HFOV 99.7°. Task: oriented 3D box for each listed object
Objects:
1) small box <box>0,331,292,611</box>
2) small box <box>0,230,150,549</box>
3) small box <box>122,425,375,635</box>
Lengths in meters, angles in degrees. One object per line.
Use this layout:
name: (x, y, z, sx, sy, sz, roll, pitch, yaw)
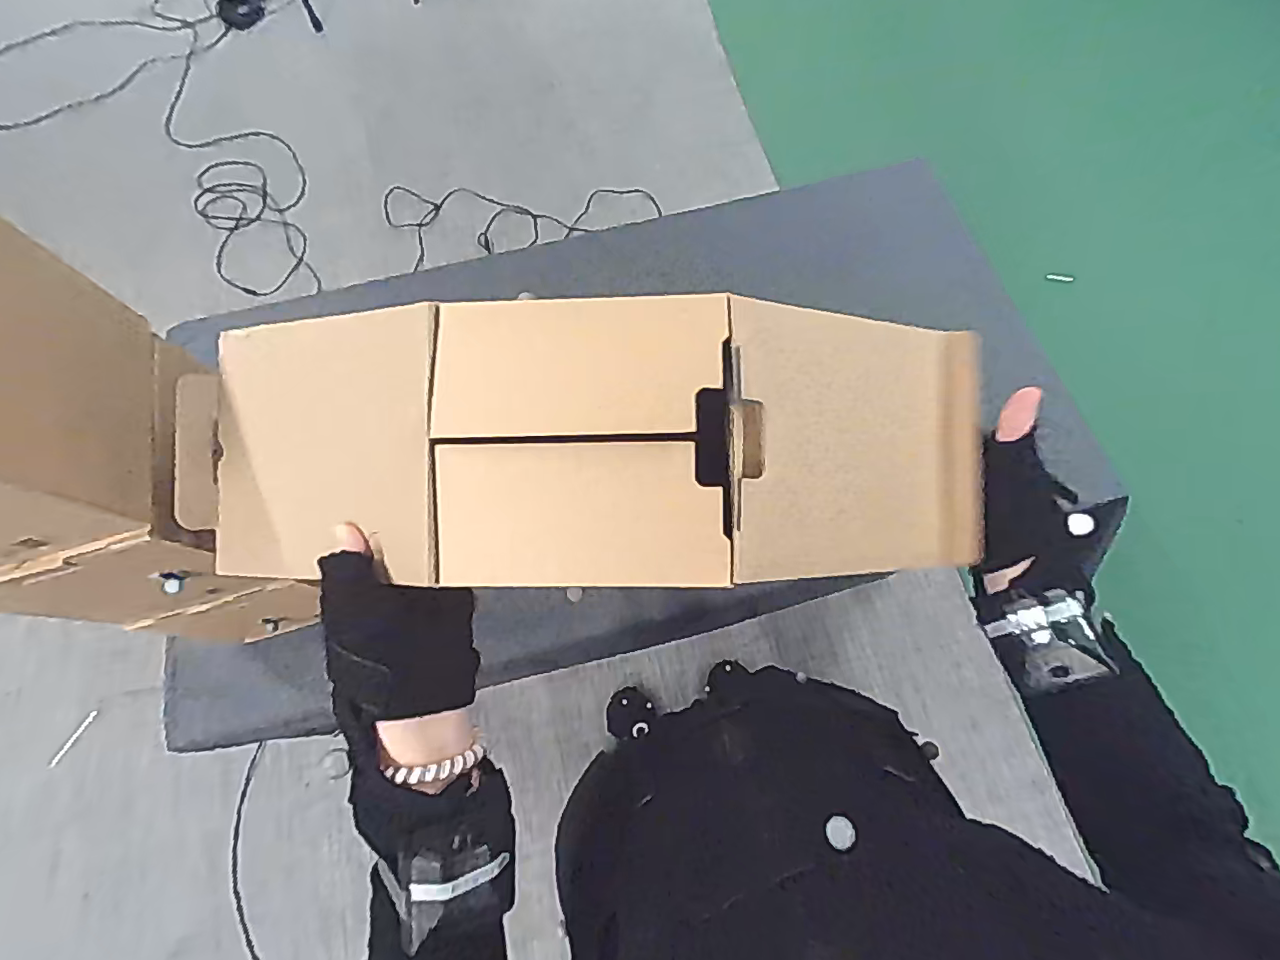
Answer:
small box: (-0.431, 0.007, 0.466, 0.168, 0.176, 0.179, -15, 70, -5)
small box: (-0.436, -0.055, 0.314, 0.168, 0.176, 0.179, -16, 71, -6)
small box: (-0.429, 0.066, 0.618, 0.168, 0.176, 0.179, -16, 71, -4)
